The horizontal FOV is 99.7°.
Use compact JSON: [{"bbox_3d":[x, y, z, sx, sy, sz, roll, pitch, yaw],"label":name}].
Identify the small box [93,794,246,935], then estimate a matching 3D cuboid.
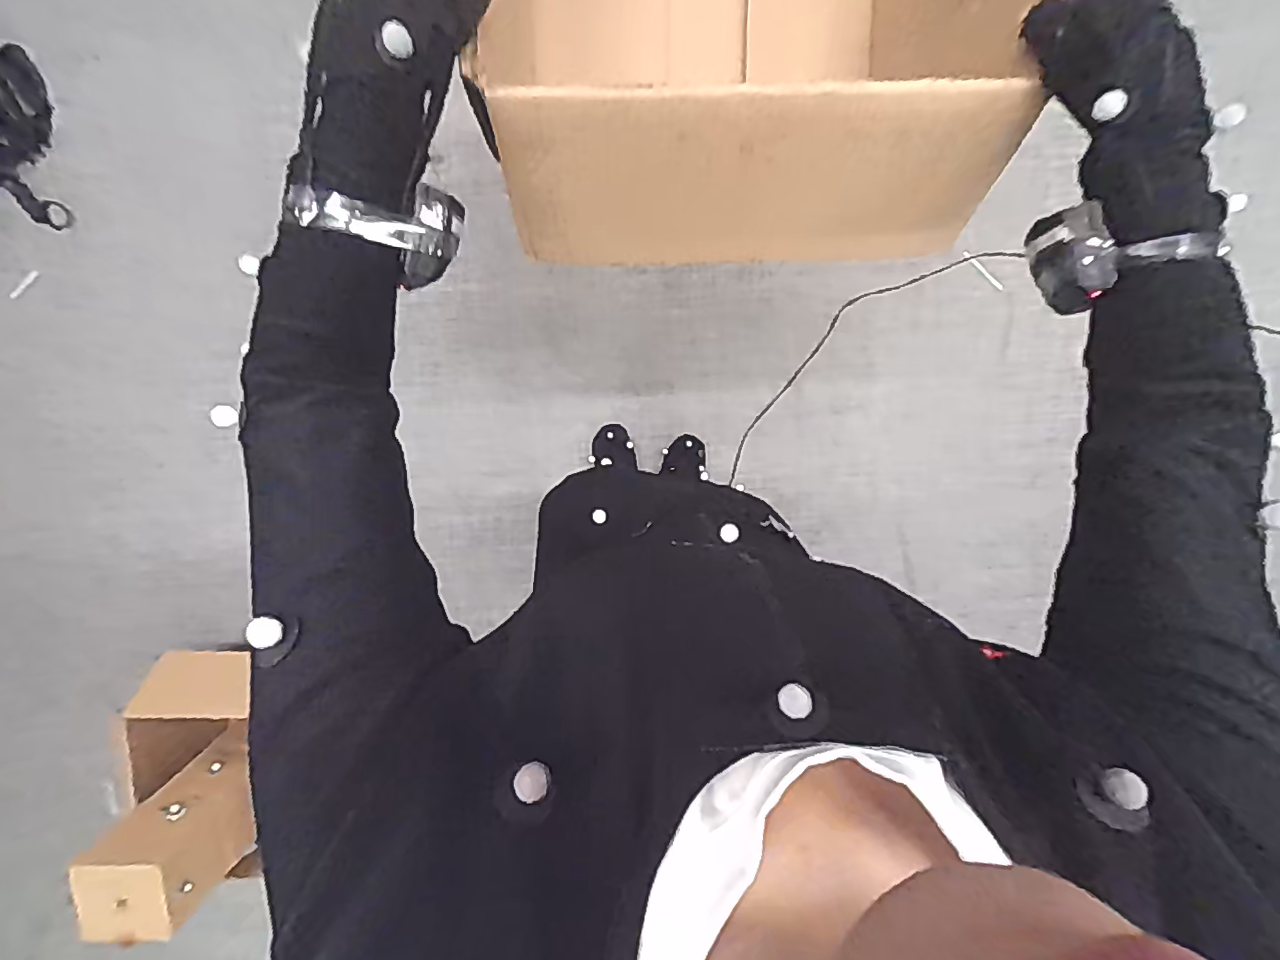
[{"bbox_3d":[-0.960,0.791,1.122,0.168,0.176,0.179,-1,101,-2],"label":"small box"}]
